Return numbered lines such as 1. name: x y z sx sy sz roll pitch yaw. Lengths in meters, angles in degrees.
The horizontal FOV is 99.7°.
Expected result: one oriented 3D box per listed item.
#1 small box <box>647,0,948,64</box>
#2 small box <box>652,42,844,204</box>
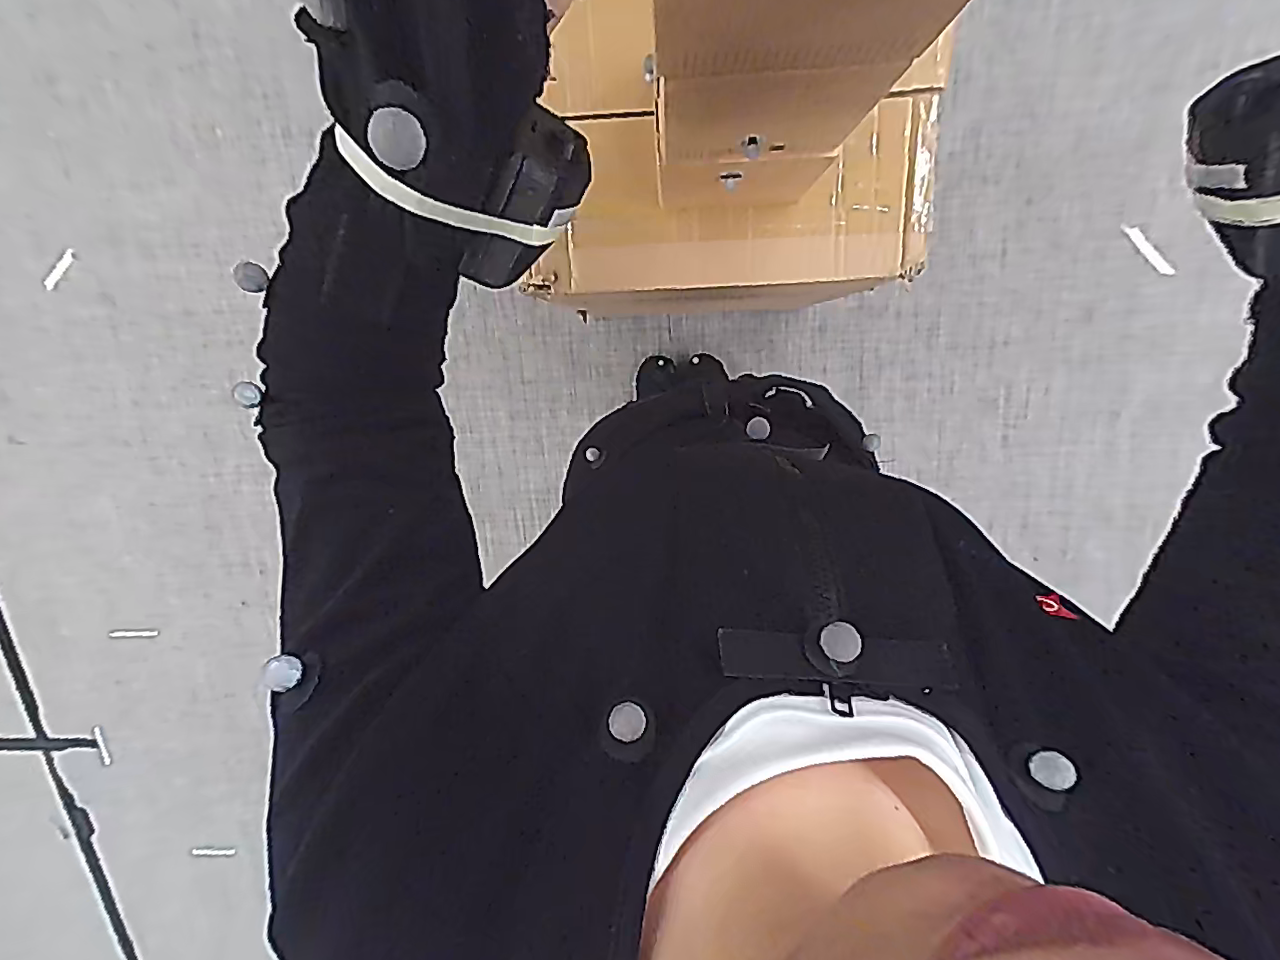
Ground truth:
1. small box: 0.089 -0.332 0.255 0.179 0.176 0.168 -1 104 3
2. small box: 0.104 -0.405 0.576 0.179 0.176 0.168 -1 104 3
